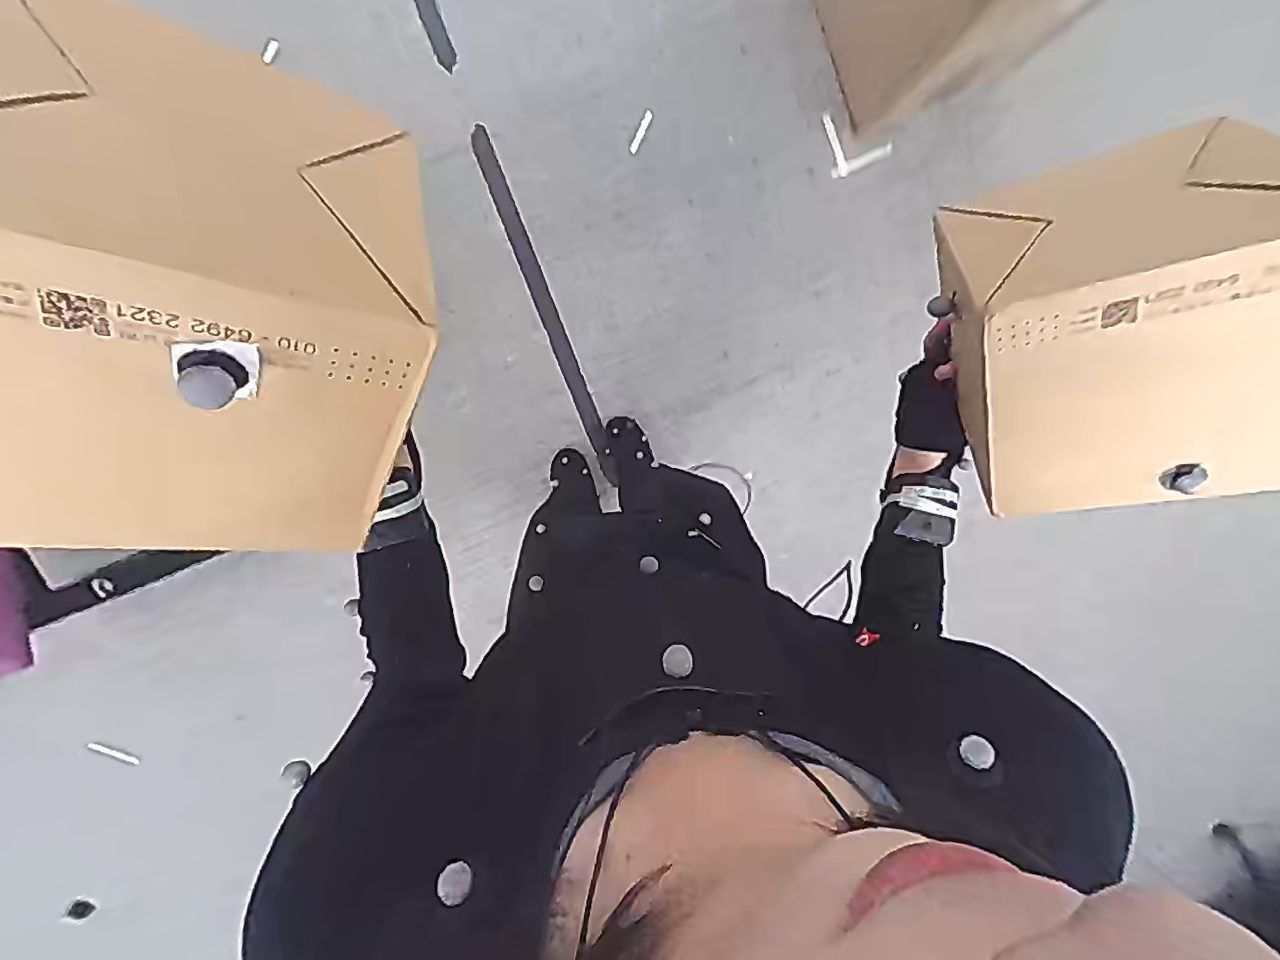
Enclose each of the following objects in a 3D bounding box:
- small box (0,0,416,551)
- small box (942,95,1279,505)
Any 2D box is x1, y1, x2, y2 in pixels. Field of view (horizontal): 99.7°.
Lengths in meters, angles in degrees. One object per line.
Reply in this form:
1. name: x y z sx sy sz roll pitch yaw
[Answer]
1. small box: -0.210 -0.084 0.252 0.168 0.179 0.176 6 140 -33
2. small box: 0.301 -0.111 0.346 0.168 0.179 0.176 -10 130 27
